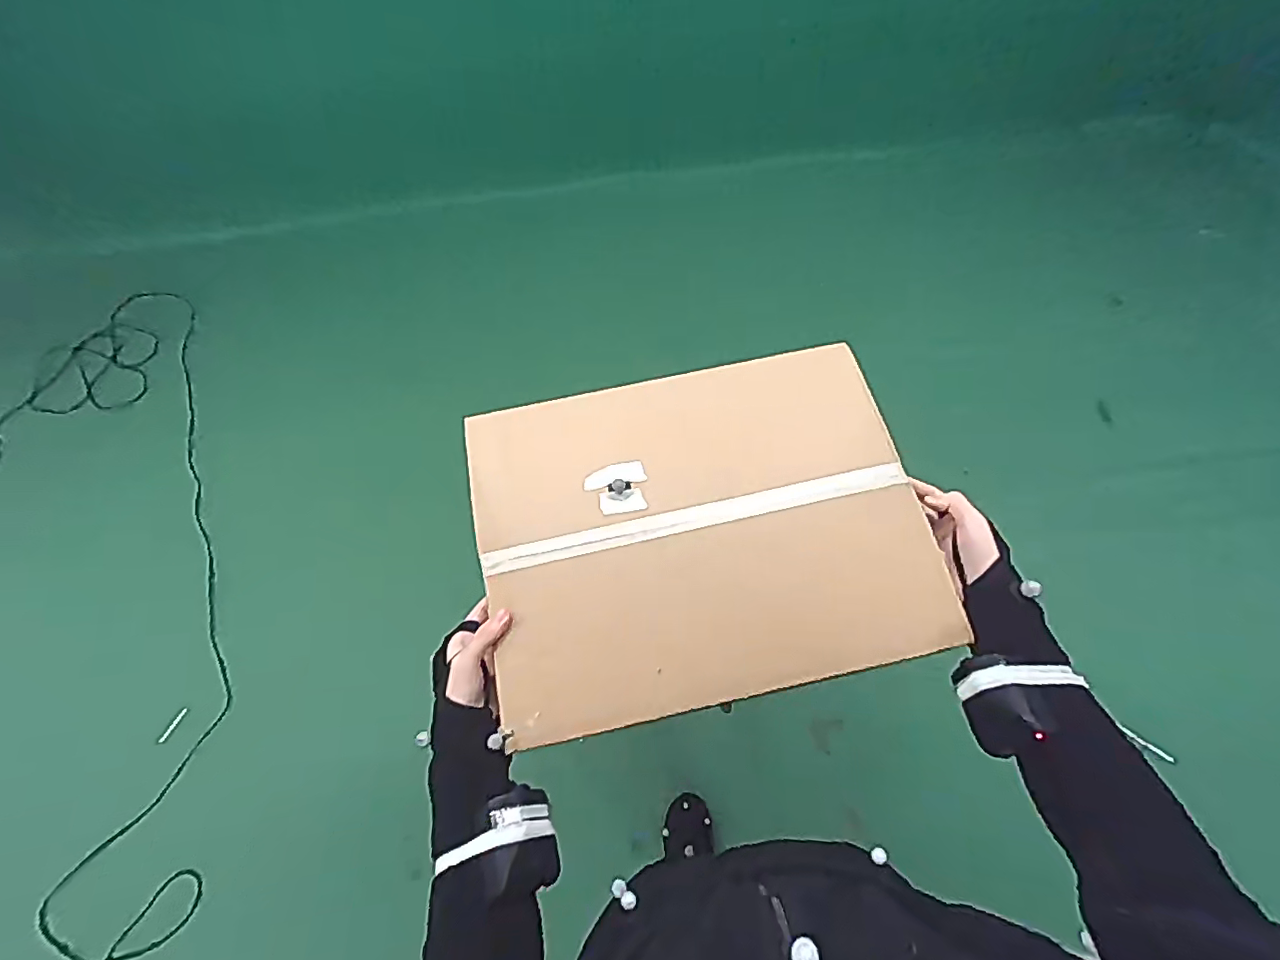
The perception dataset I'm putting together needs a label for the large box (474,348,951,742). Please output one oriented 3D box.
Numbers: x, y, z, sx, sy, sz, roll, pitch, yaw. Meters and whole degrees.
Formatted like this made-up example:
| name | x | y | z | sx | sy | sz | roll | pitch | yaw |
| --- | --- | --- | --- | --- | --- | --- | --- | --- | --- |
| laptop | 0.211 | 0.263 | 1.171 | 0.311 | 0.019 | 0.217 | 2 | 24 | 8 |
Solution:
| name | x | y | z | sx | sy | sz | roll | pitch | yaw |
| --- | --- | --- | --- | --- | --- | --- | --- | --- | --- |
| large box | 0.059 | 0.090 | 0.660 | 0.408 | 0.320 | 0.320 | -13 | 69 | -2 |
